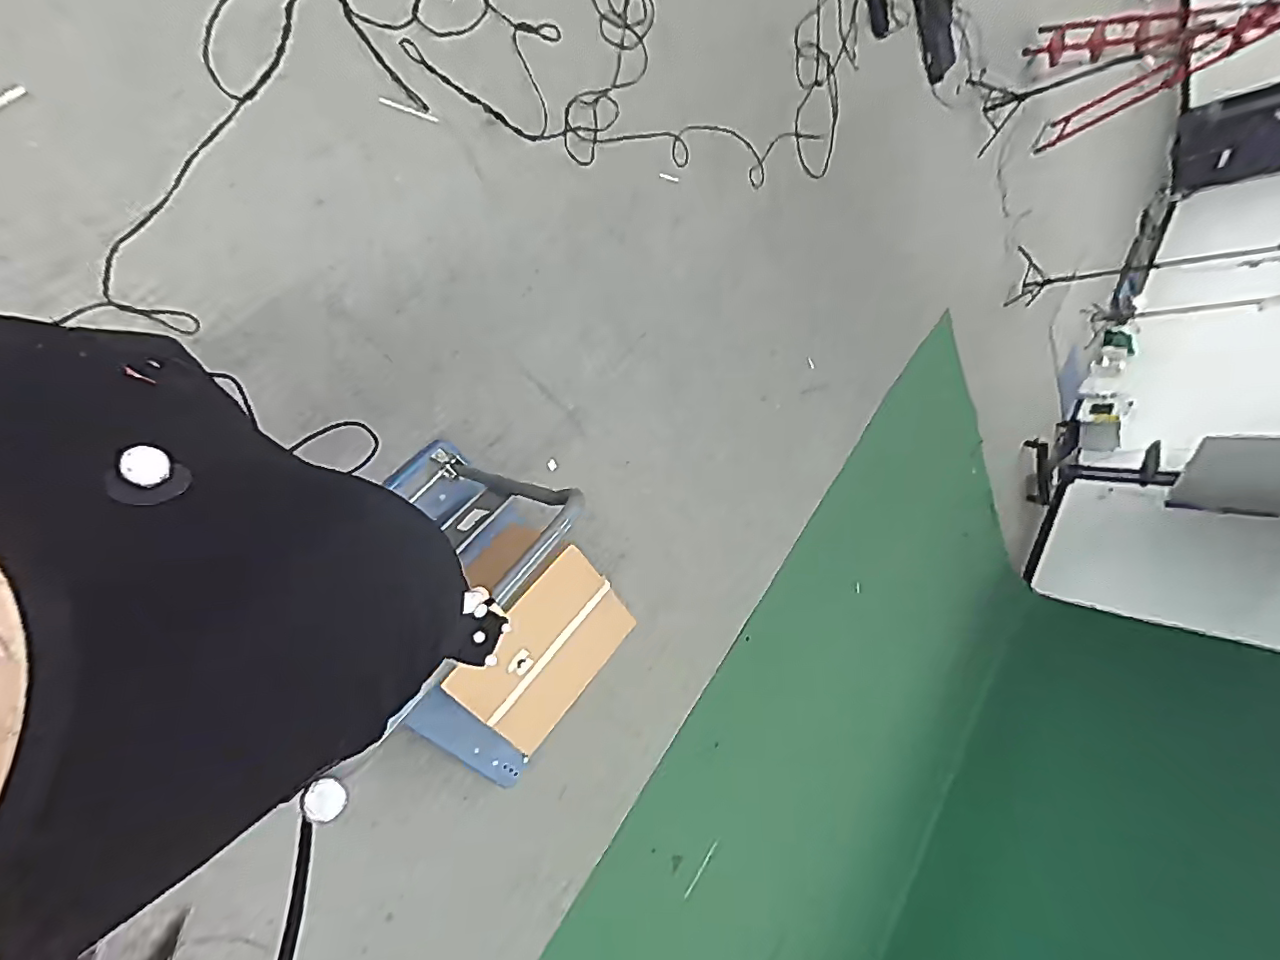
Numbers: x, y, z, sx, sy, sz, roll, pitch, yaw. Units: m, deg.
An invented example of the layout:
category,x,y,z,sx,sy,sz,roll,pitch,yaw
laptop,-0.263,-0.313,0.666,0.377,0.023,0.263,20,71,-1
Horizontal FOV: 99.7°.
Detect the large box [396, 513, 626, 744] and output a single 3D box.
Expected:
category,x,y,z,sx,sy,sz,roll,pitch,yaw
large box,-0.317,0.347,1.360,0.408,0.320,0.320,-48,122,-23
